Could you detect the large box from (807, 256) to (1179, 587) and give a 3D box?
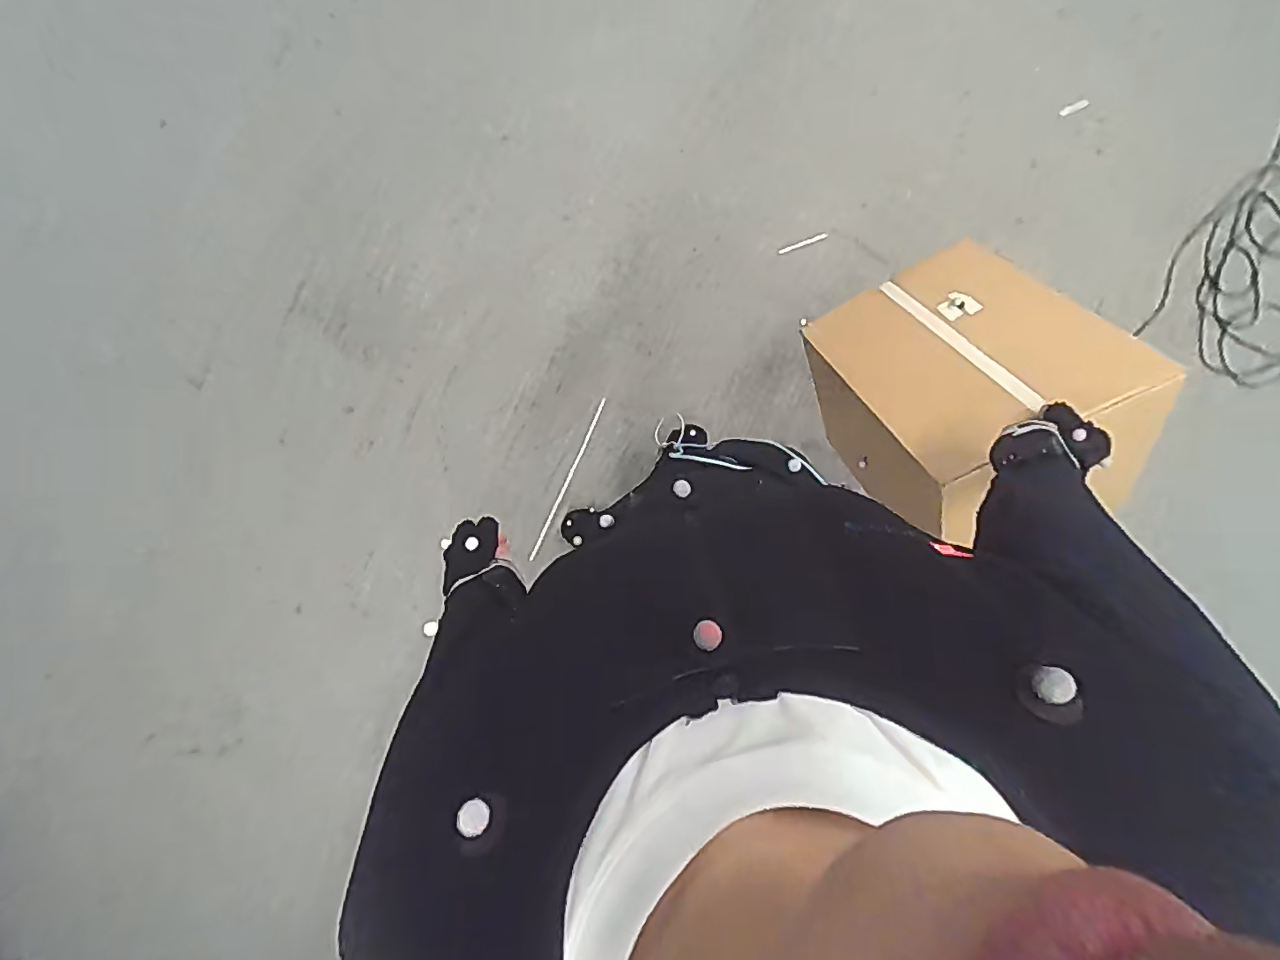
[{"bbox_3d":[0.542,-0.100,0.920,0.320,0.408,0.320,-26,135,7],"label":"large box"}]
